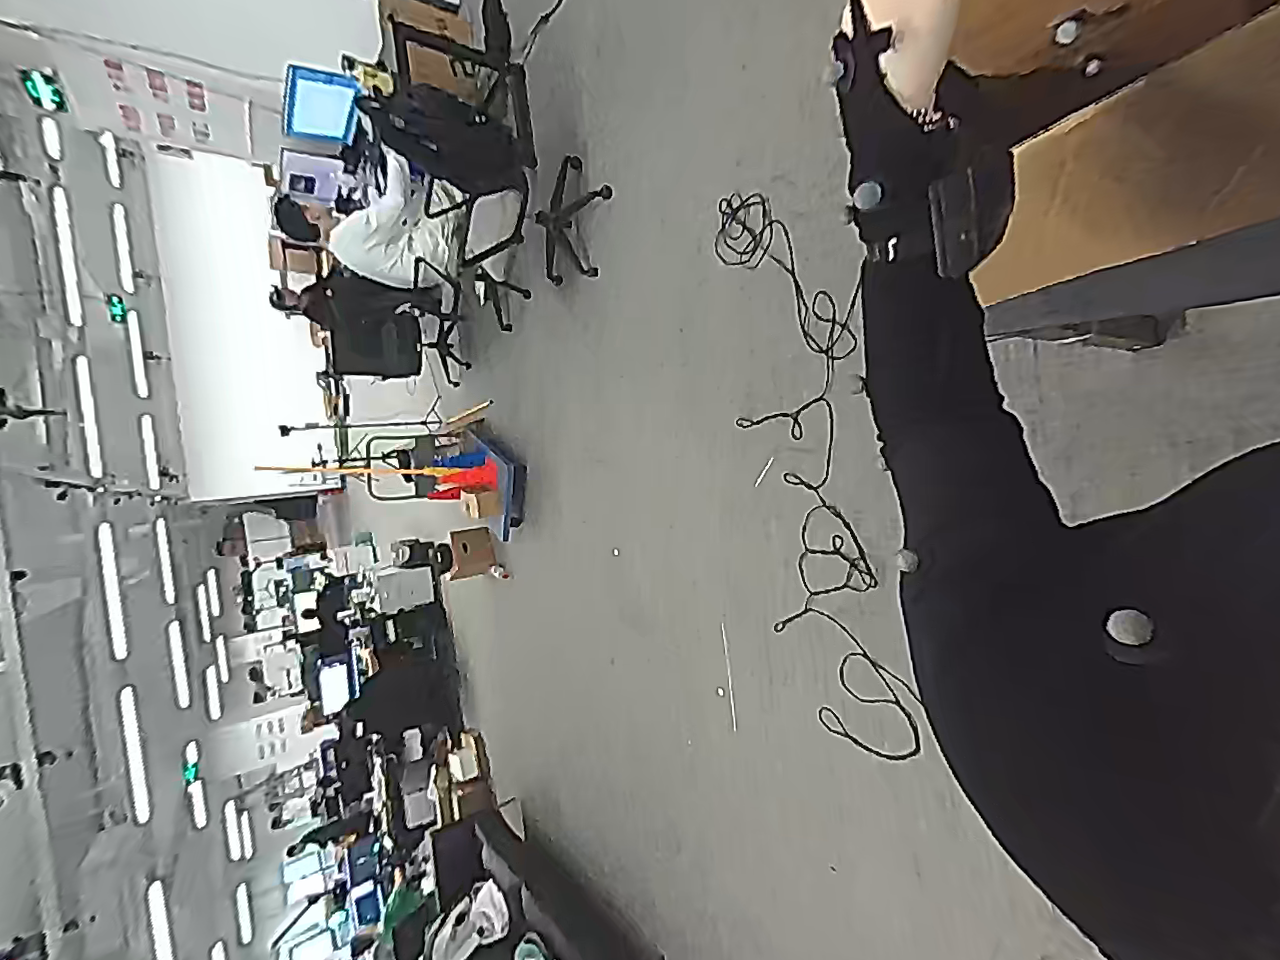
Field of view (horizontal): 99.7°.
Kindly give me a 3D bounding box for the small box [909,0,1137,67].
[{"bbox_3d":[0.326,-0.476,0.419,0.168,0.176,0.179,0,99,54],"label":"small box"}]
